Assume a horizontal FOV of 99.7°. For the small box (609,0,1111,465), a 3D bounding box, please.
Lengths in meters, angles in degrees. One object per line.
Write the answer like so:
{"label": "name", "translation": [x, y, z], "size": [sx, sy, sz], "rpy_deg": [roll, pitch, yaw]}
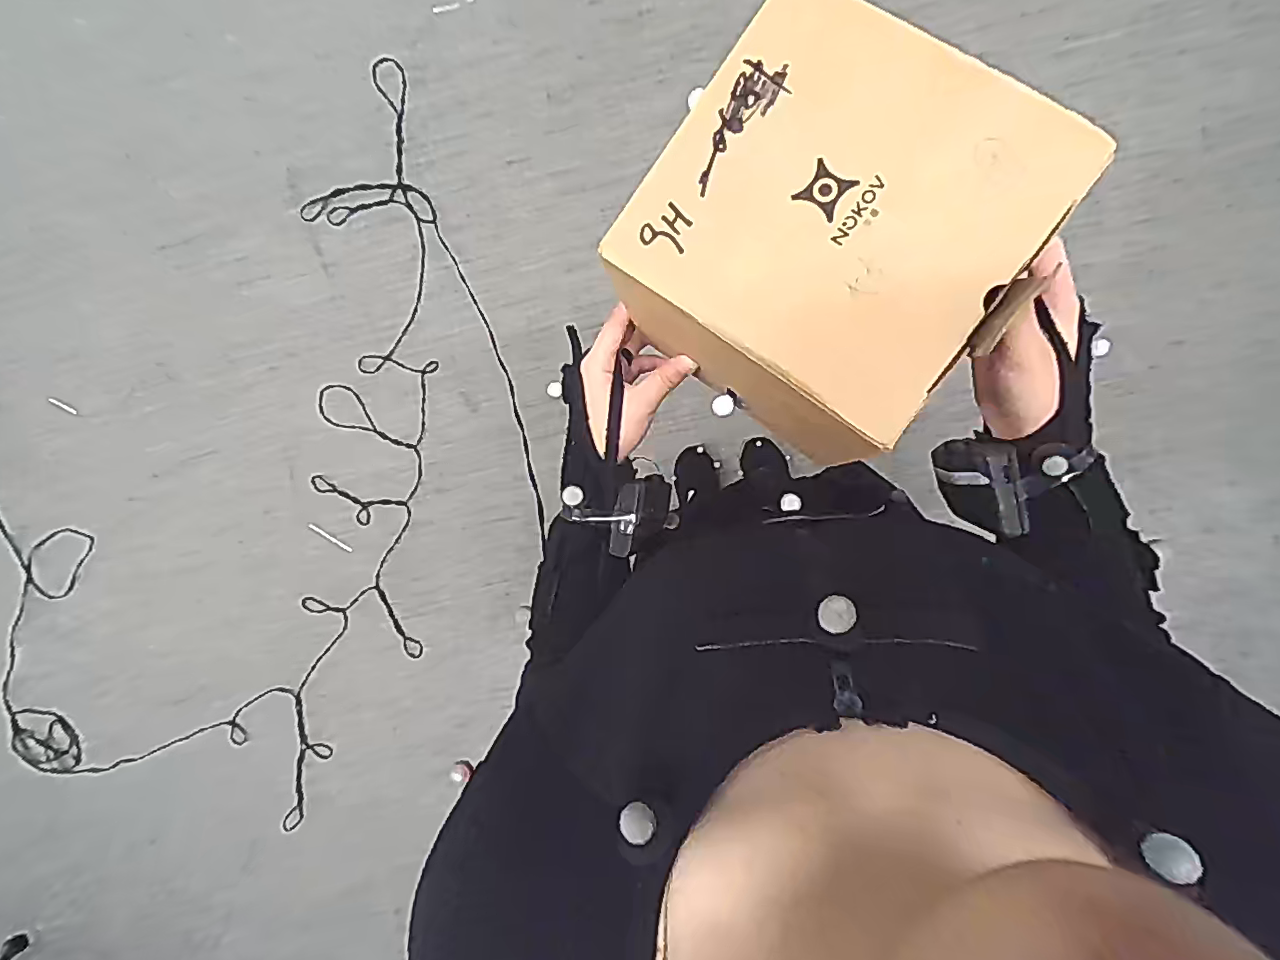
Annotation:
{"label": "small box", "translation": [0.110, -0.124, 0.339], "size": [0.179, 0.176, 0.168], "rpy_deg": [38, 94, 7]}
